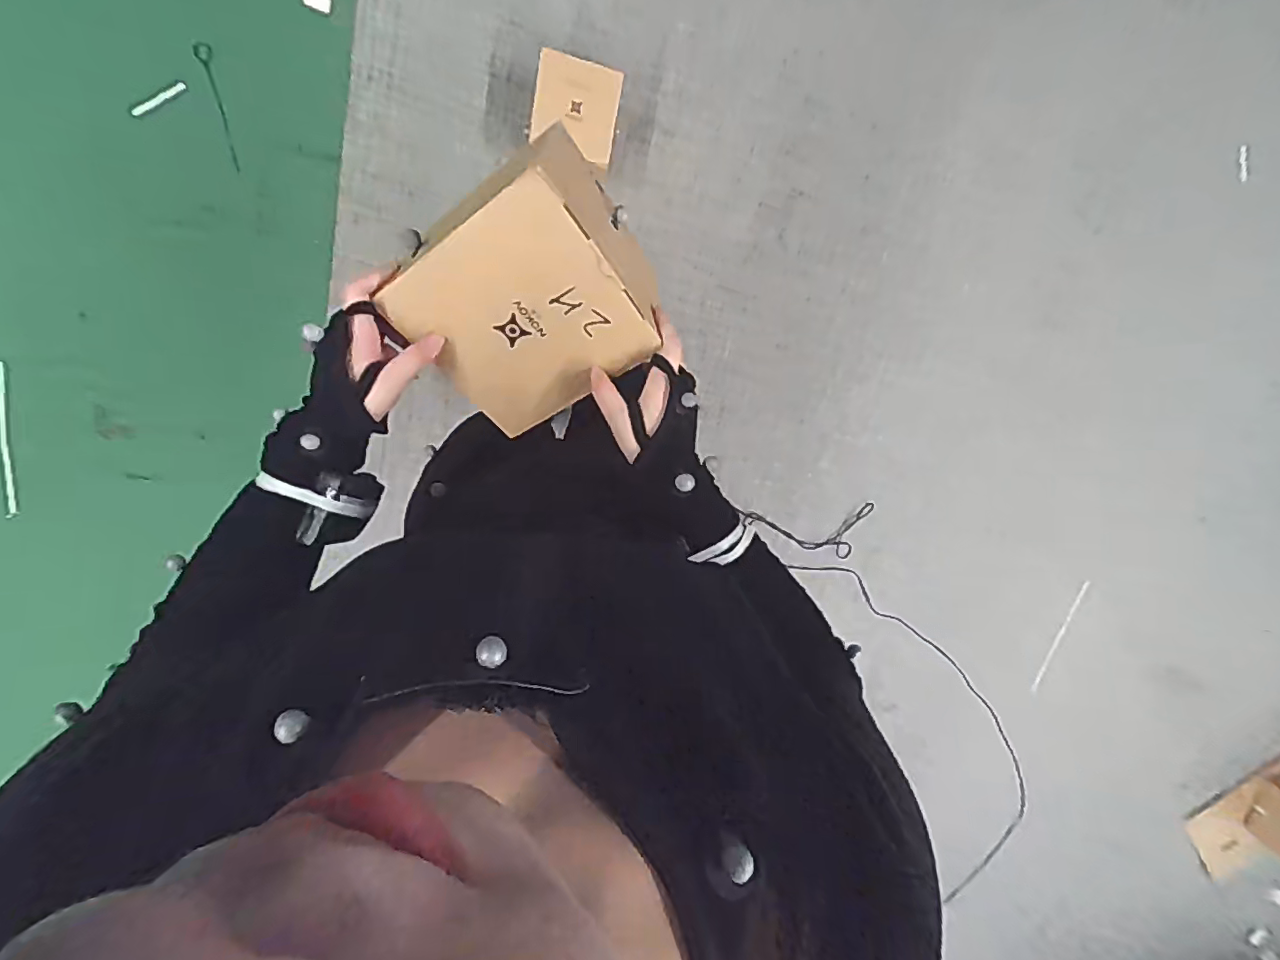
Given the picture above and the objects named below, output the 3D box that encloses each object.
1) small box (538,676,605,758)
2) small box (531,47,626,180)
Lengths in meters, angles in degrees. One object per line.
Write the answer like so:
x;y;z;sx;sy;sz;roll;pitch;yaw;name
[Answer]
-0.216;0.728;1.672;0.179;0.176;0.168;9;107;-12;small box
-0.136;-0.769;1.159;0.168;0.176;0.179;9;107;-14;small box
